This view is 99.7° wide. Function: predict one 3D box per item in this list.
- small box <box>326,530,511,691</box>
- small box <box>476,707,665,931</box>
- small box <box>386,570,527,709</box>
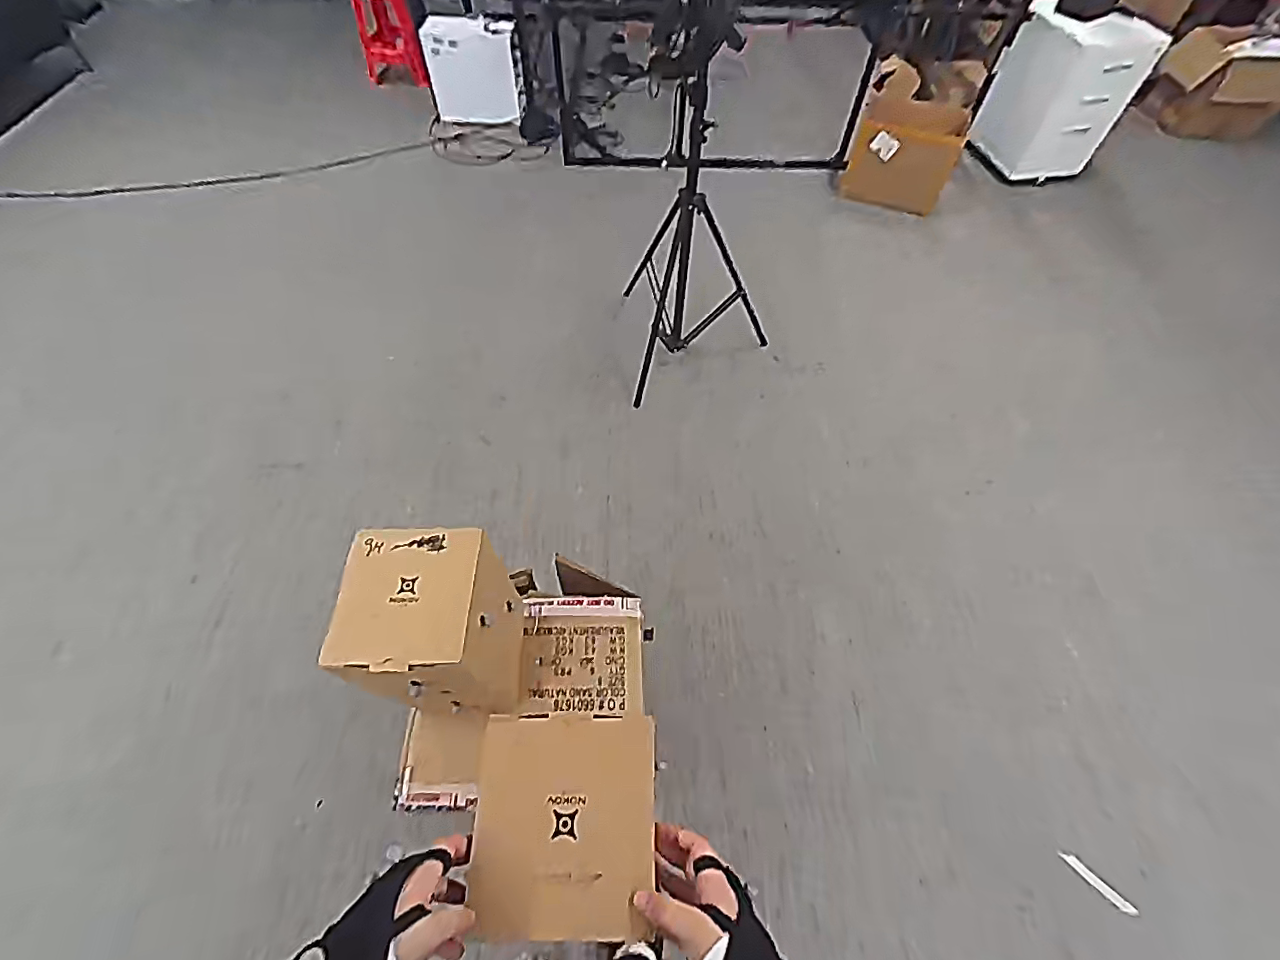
[{"bbox_3d":[-0.278,0.182,0.726,0.168,0.176,0.179,-1,59,0],"label":"small box"},{"bbox_3d":[-0.062,0.345,0.573,0.168,0.176,0.179,-2,63,-1],"label":"small box"},{"bbox_3d":[-0.282,0.260,0.871,0.168,0.176,0.179,-3,59,0],"label":"small box"}]
